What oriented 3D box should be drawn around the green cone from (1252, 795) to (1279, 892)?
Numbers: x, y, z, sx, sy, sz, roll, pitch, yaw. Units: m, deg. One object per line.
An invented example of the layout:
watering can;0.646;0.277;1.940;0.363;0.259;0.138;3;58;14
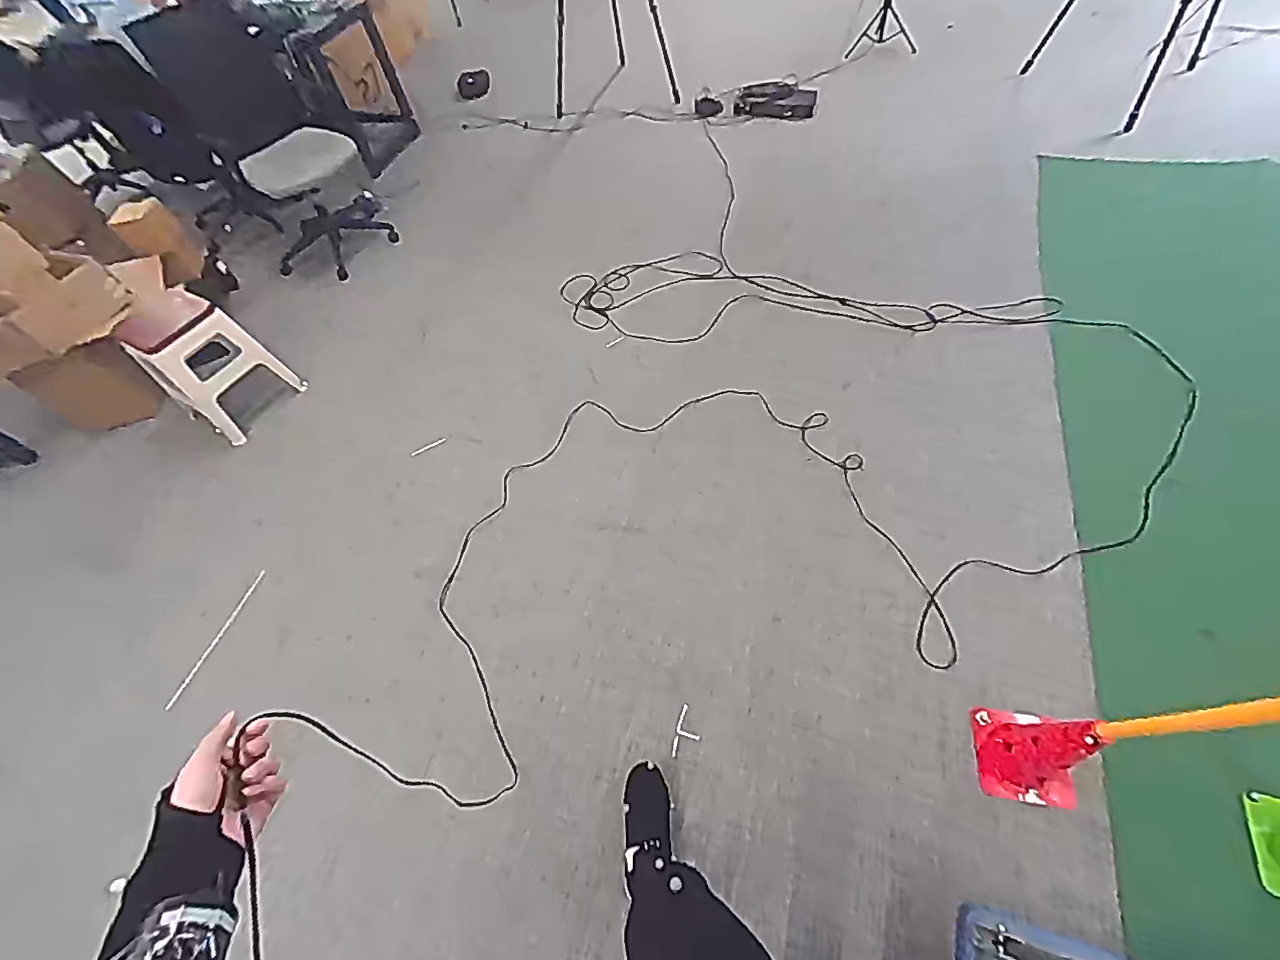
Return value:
green cone;1.407;0.696;0.990;0.202;0.368;0.200;12;57;15
